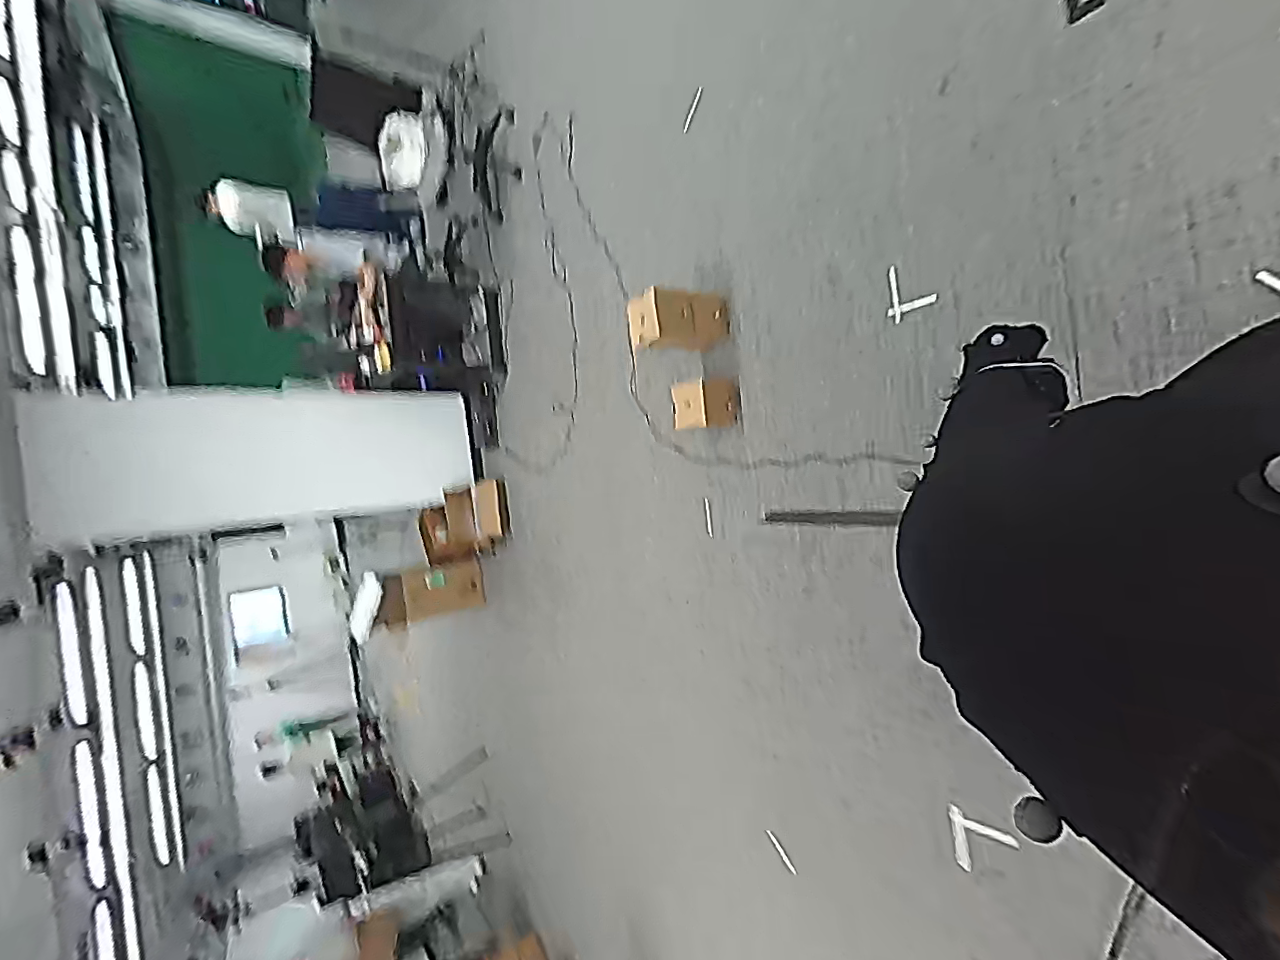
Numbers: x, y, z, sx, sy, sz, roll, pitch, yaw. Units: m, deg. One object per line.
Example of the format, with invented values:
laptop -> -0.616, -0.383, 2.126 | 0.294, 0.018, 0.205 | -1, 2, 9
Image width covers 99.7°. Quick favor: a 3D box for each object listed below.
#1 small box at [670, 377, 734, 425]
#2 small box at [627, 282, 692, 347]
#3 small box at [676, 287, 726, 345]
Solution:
small box -> 0.240, -0.302, 2.083 | 0.179, 0.176, 0.168 | -1, 95, 53
small box -> 0.073, -0.600, 1.982 | 0.168, 0.176, 0.179 | -8, 88, 54
small box -> 0.205, -0.621, 2.078 | 0.179, 0.176, 0.168 | -7, 90, 53
